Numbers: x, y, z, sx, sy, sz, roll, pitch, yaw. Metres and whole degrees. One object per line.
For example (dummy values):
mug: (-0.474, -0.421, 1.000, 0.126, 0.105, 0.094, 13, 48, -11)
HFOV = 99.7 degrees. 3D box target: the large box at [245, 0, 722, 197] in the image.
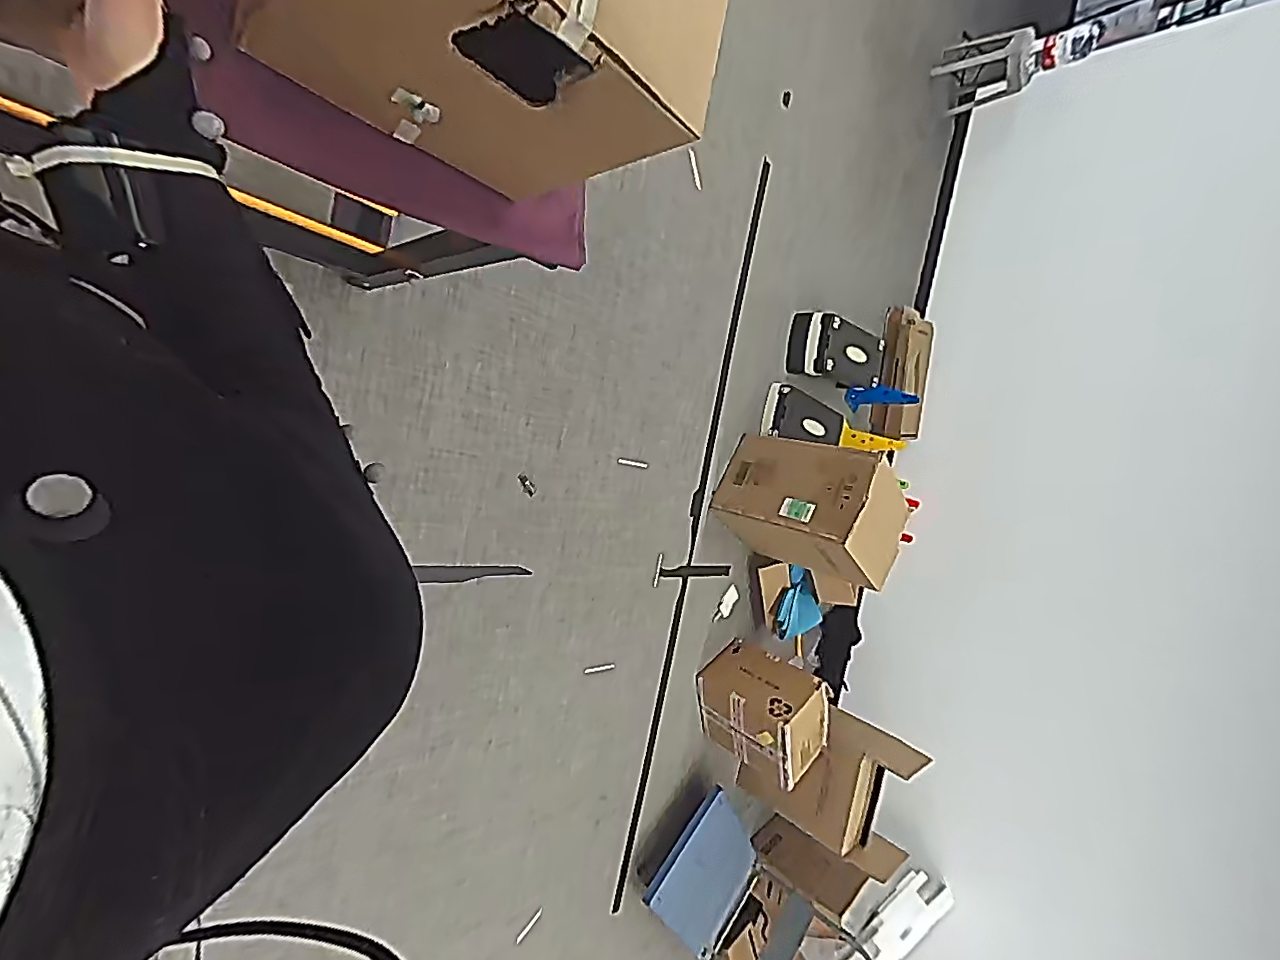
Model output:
large box: (-0.123, -0.547, 0.487, 0.320, 0.320, 0.408, 8, 93, -48)
